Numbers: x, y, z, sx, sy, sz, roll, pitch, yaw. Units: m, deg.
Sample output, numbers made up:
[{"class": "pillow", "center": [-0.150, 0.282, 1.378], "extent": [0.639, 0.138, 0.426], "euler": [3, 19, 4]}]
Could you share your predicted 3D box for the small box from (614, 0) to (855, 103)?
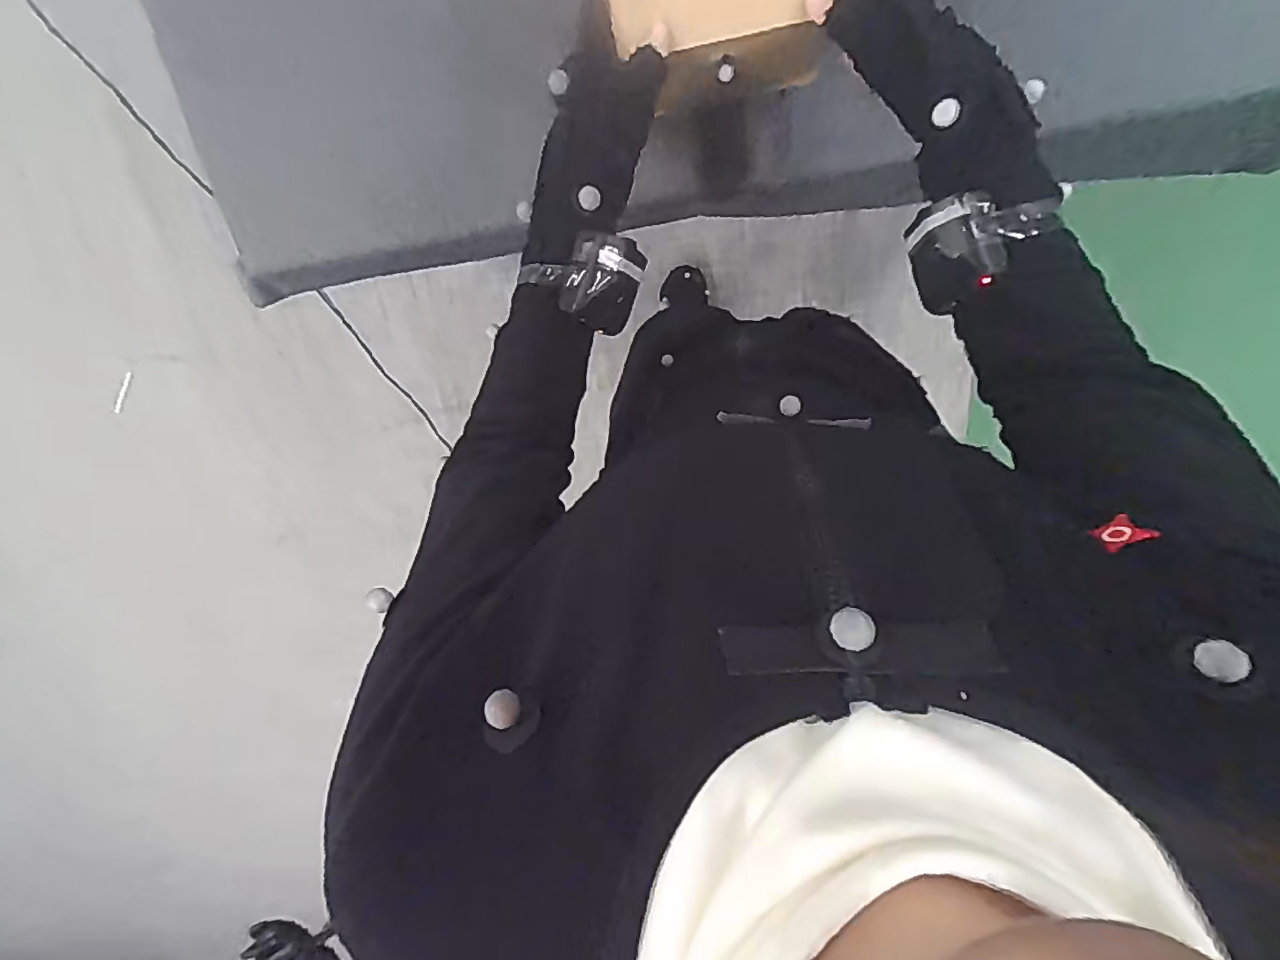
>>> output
[{"class": "small box", "center": [0.063, -0.425, 0.425], "extent": [0.179, 0.176, 0.168], "euler": [-9, 112, 6]}]

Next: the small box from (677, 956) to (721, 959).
[{"class": "small box", "center": [0.195, 1.724, 1.792], "extent": [0.179, 0.176, 0.168], "euler": [-8, 111, 6]}]
